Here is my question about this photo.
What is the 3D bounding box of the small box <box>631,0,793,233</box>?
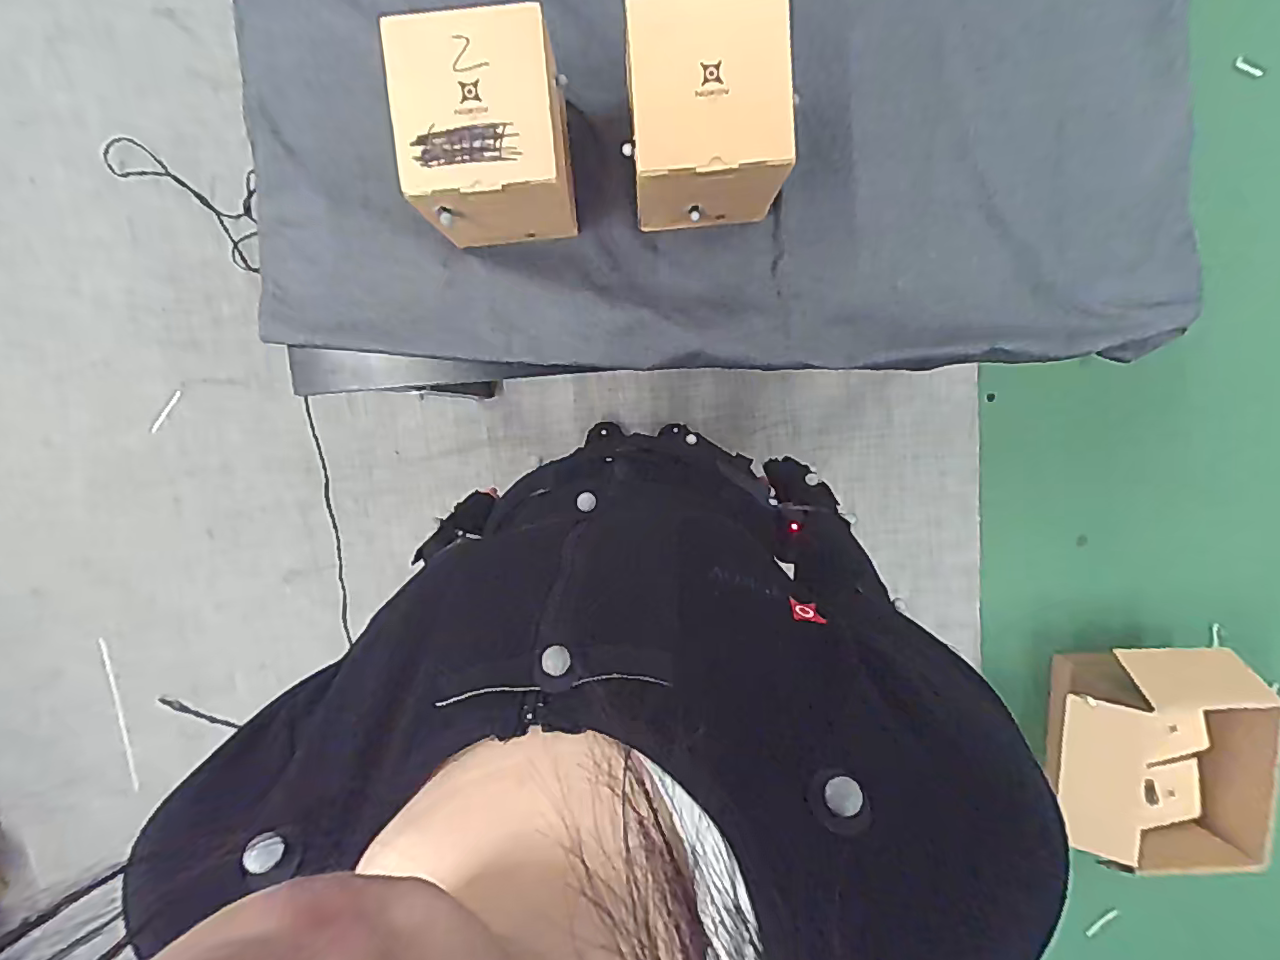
[{"bbox_3d":[0.076,-0.419,0.647,0.168,0.176,0.179,-5,97,1],"label":"small box"}]
